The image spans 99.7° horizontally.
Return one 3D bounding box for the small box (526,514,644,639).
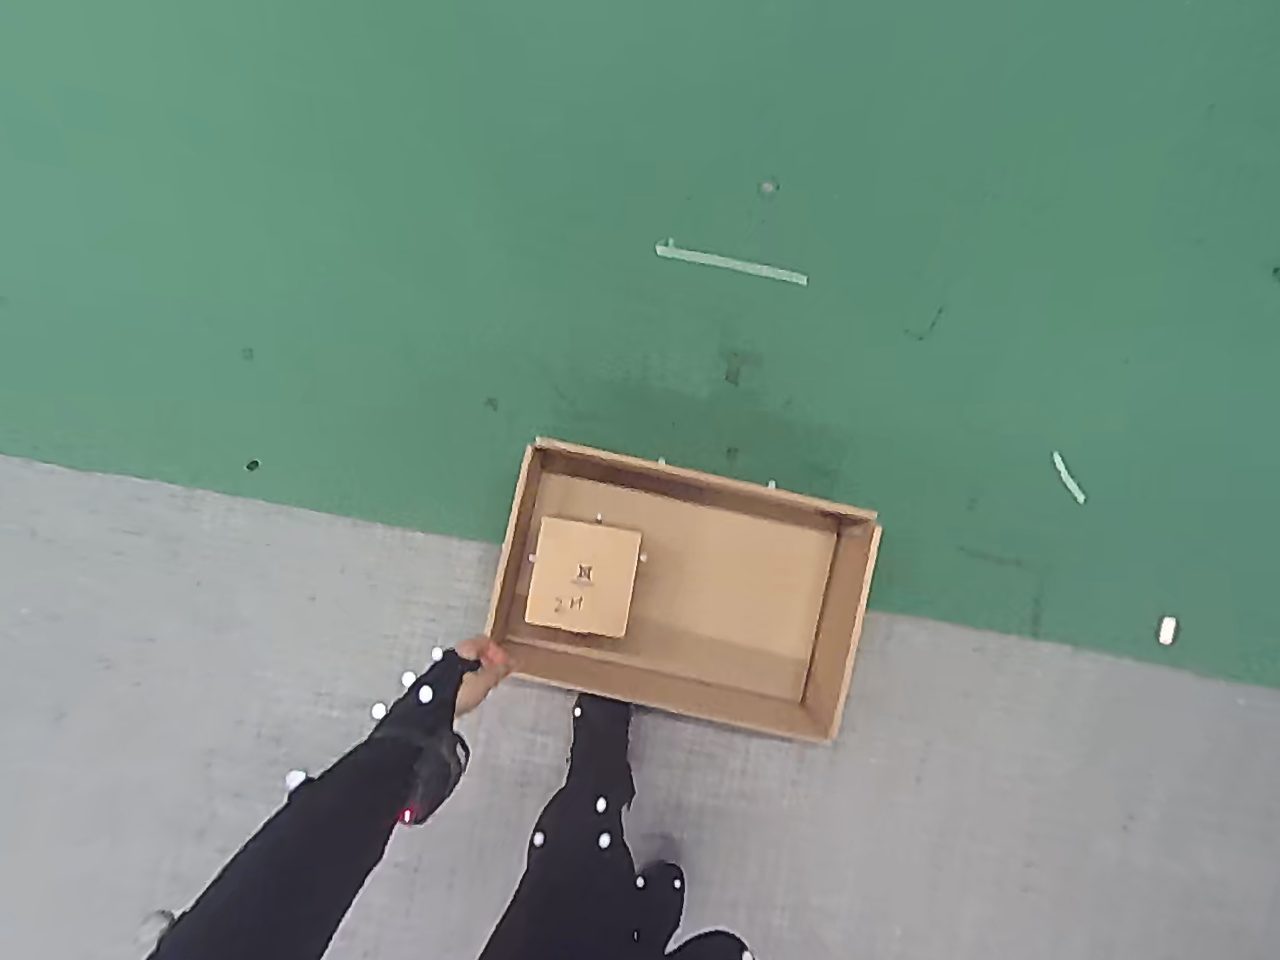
[{"bbox_3d":[-0.092,0.158,0.948,0.168,0.176,0.179,10,88,-1],"label":"small box"}]
